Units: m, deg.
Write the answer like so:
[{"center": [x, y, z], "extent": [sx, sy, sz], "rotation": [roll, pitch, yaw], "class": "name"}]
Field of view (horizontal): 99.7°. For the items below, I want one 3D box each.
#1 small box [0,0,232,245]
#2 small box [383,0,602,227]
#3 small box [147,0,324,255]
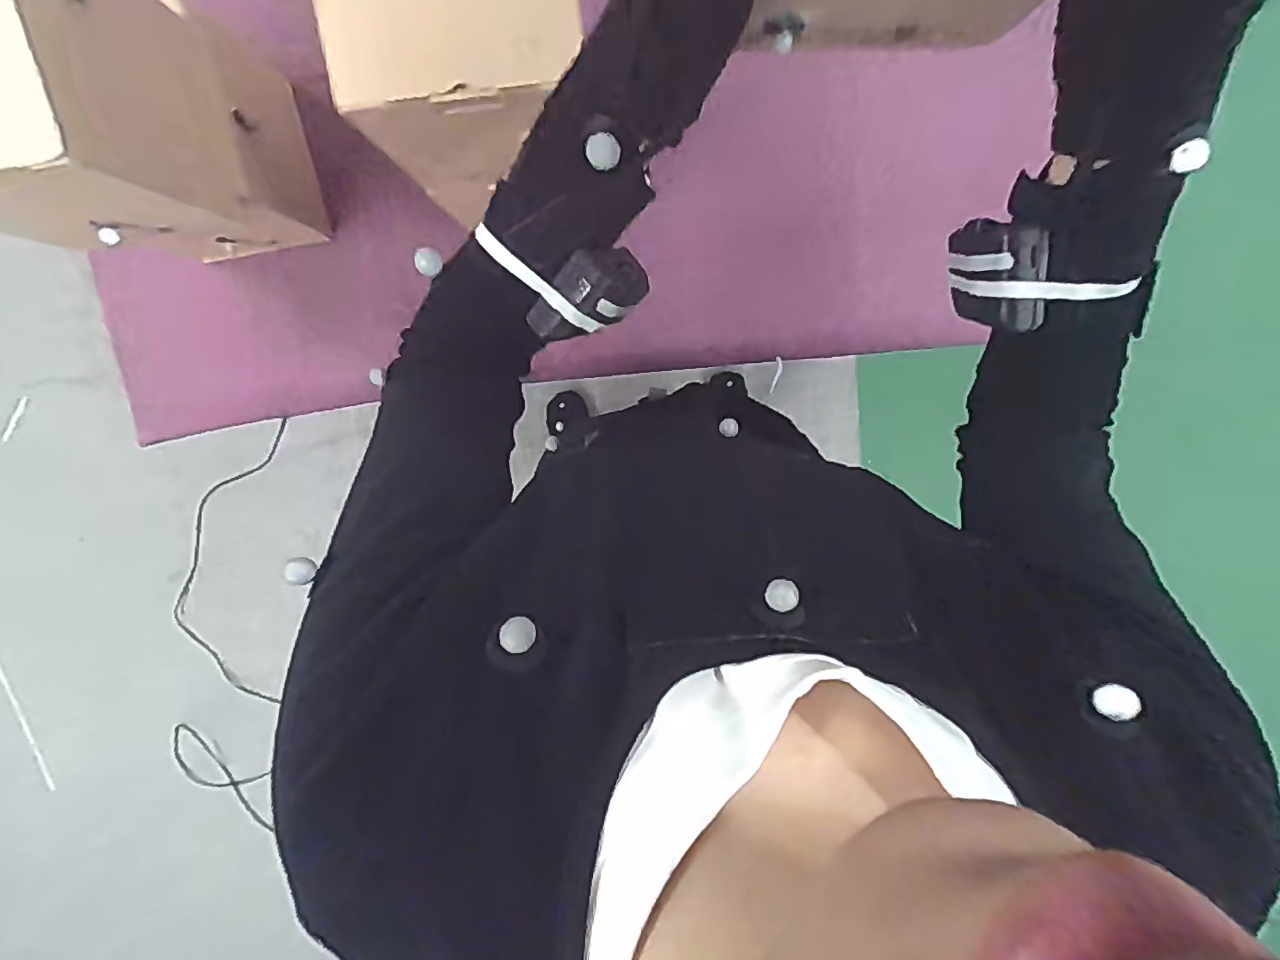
[{"center": [-0.466, -0.298, 0.410], "extent": [0.168, 0.176, 0.179], "rotation": [-9, 103, 0], "class": "small box"}, {"center": [-0.137, -0.383, 0.571], "extent": [0.168, 0.176, 0.179], "rotation": [-9, 101, 2], "class": "small box"}, {"center": [-0.473, -0.355, 0.566], "extent": [0.168, 0.176, 0.179], "rotation": [-11, 103, 0], "class": "small box"}]
